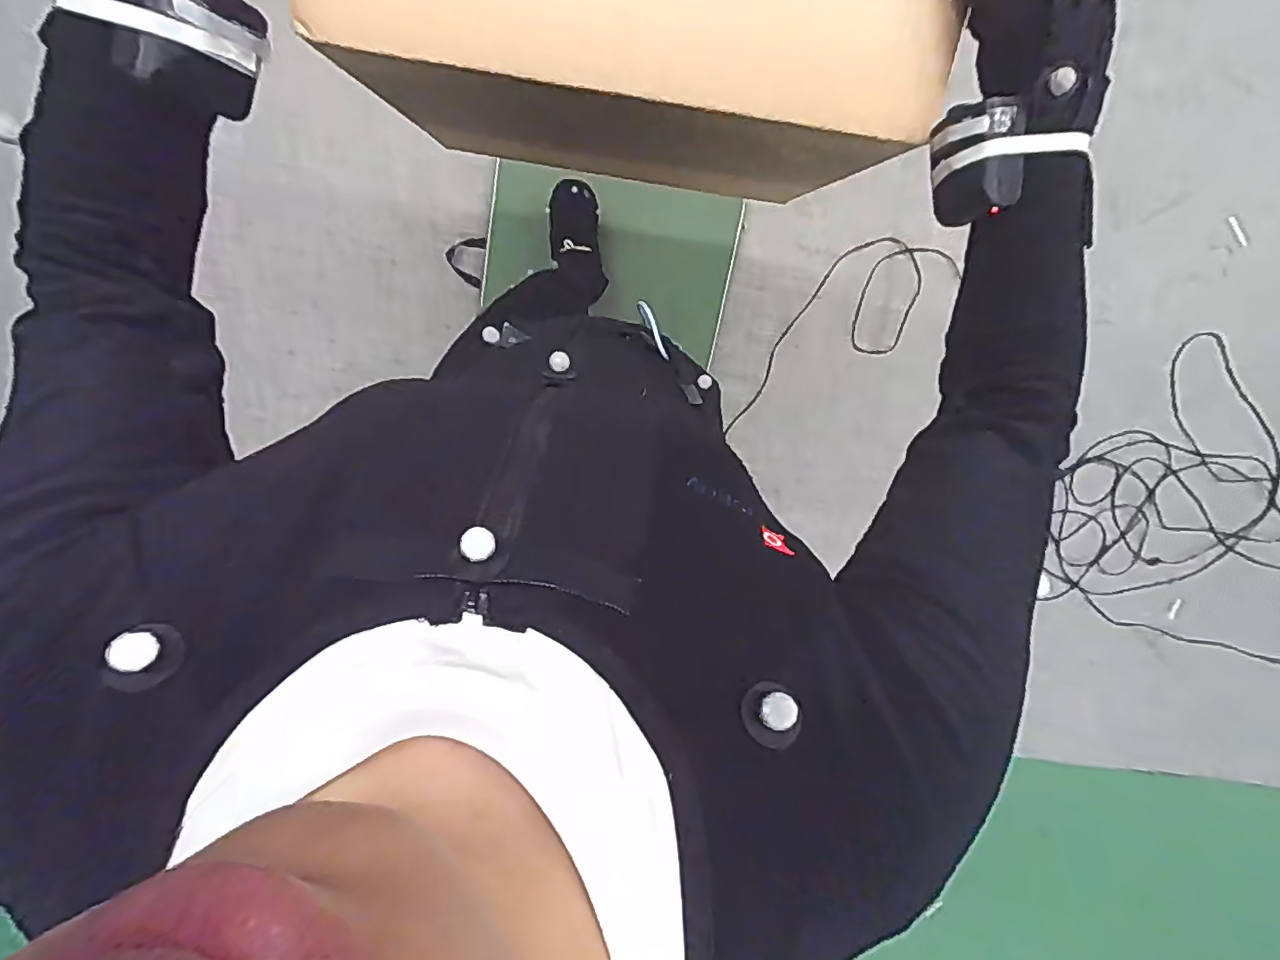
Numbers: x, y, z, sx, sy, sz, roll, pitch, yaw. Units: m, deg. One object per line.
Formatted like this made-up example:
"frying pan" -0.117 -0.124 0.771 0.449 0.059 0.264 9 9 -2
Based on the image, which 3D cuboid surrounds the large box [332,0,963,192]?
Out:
"large box" 0.011 -0.452 0.442 0.408 0.320 0.320 5 111 -6
